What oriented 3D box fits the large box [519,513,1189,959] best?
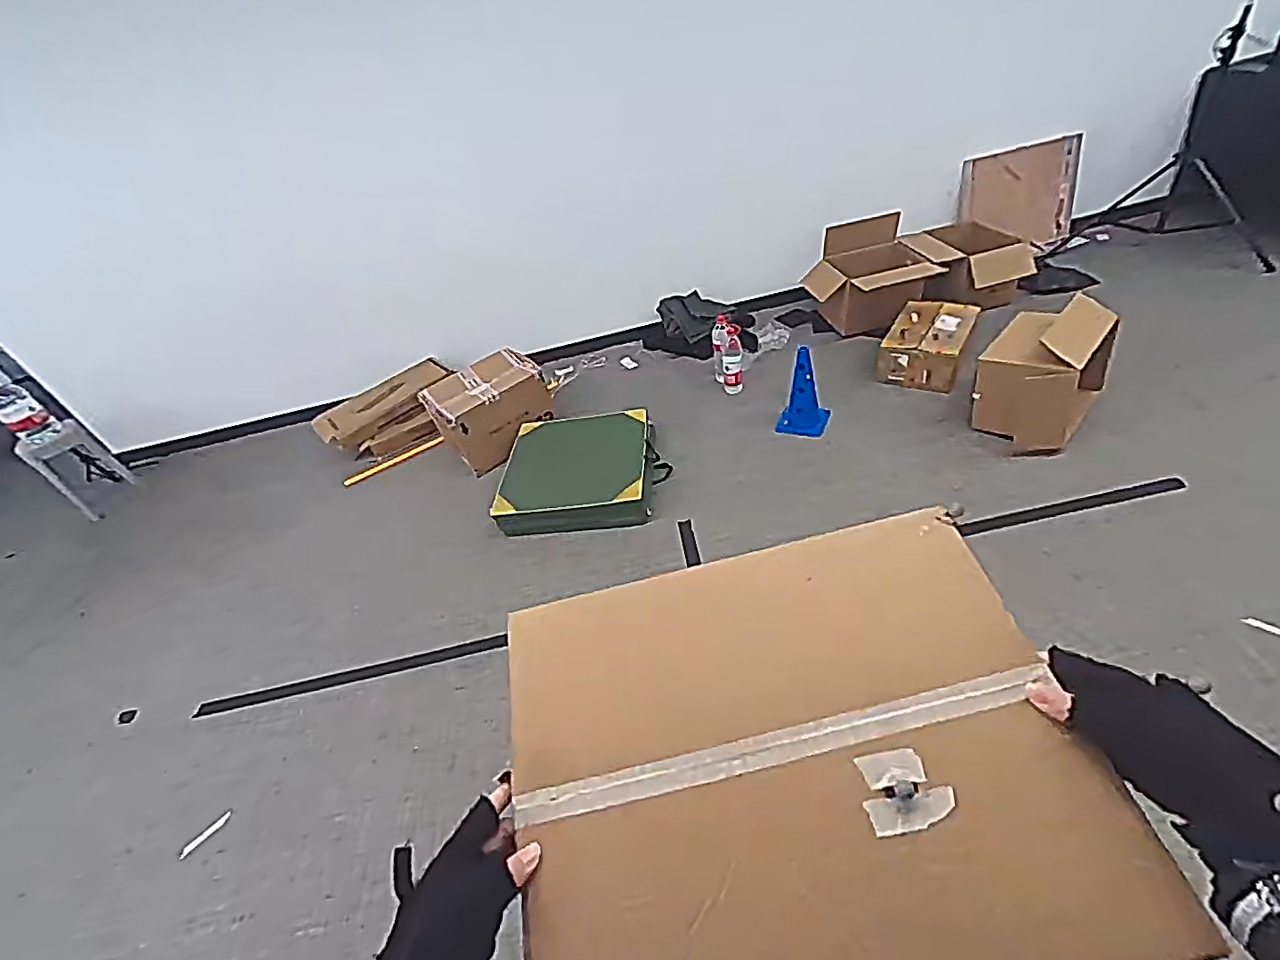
[{"bbox_3d":[0.131,0.285,0.529,0.408,0.320,0.320,-15,54,0],"label":"large box"}]
